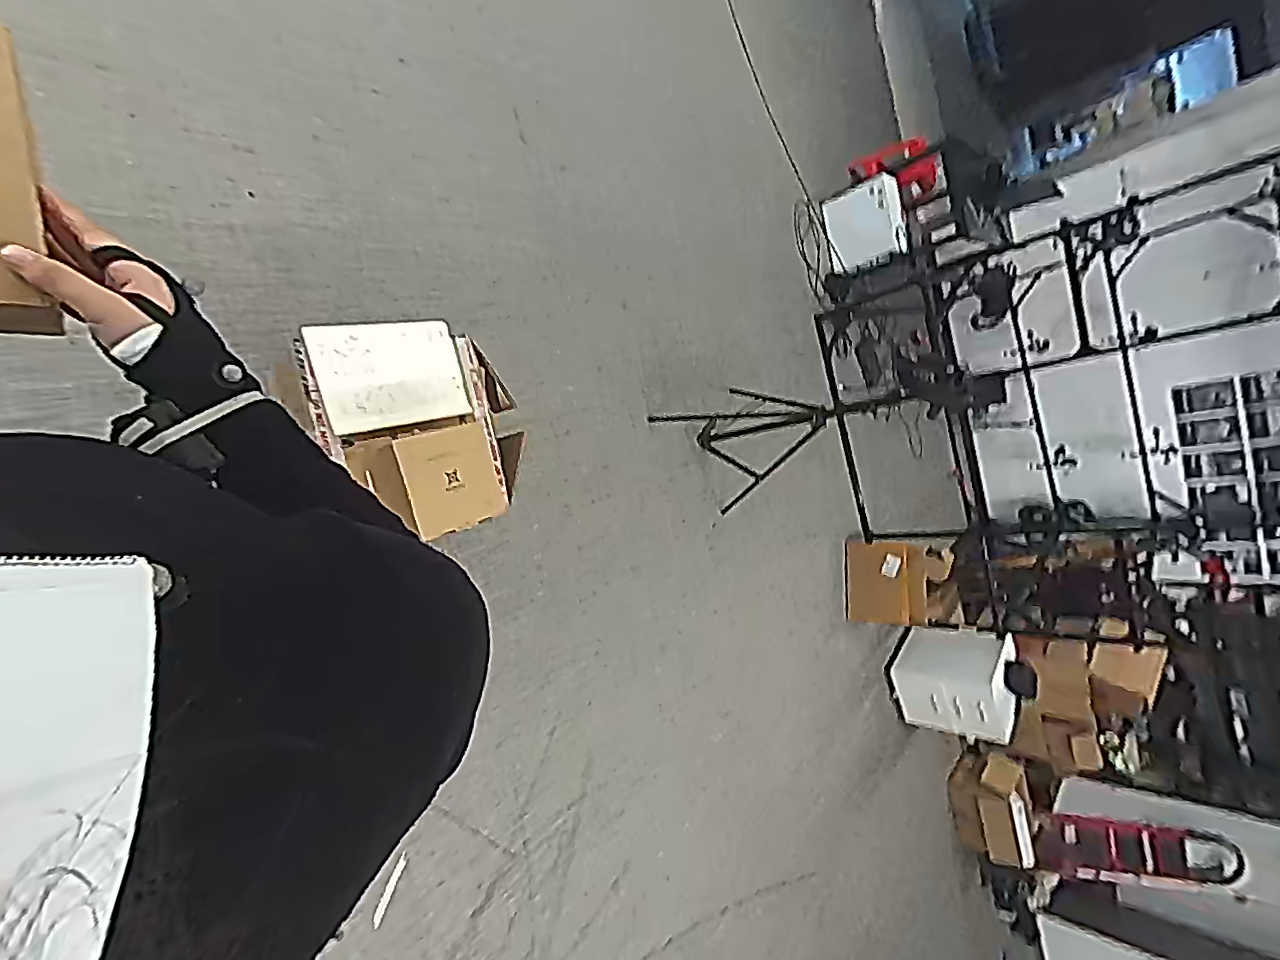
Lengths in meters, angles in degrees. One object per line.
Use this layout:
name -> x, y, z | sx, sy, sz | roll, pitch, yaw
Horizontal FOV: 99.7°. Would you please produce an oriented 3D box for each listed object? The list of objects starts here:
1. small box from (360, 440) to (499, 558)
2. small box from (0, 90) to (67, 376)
small box -> -0.395, 0.034, 1.011 | 0.168, 0.176, 0.179 | -22, 100, -42
small box -> -0.524, -0.166, 0.368 | 0.168, 0.176, 0.179 | -10, 102, -44
